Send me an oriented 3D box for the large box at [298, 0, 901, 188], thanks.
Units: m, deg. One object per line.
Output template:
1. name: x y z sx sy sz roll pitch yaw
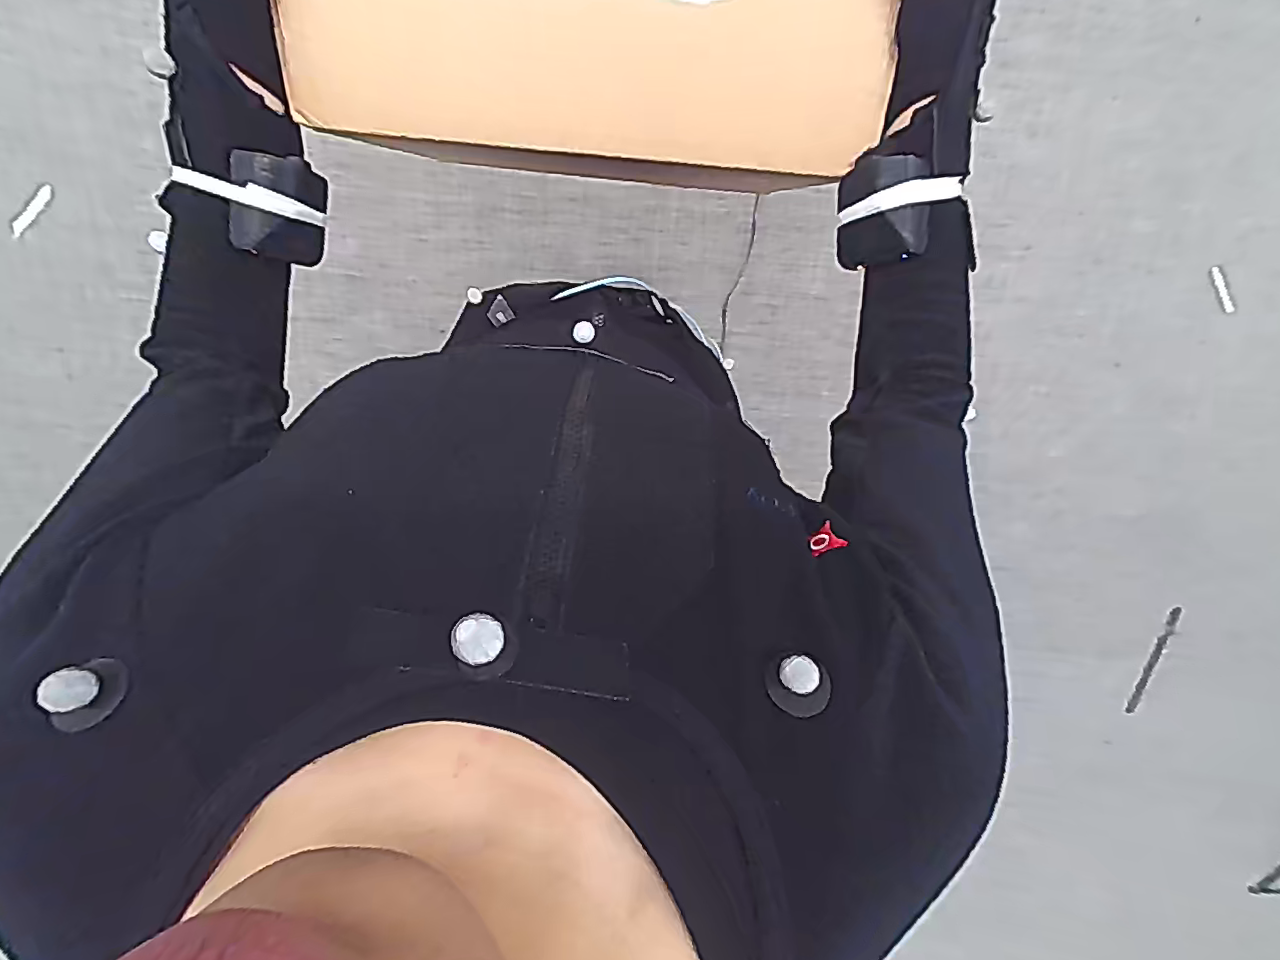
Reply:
1. large box: -0.023 -0.441 0.459 0.408 0.320 0.320 4 118 -3
